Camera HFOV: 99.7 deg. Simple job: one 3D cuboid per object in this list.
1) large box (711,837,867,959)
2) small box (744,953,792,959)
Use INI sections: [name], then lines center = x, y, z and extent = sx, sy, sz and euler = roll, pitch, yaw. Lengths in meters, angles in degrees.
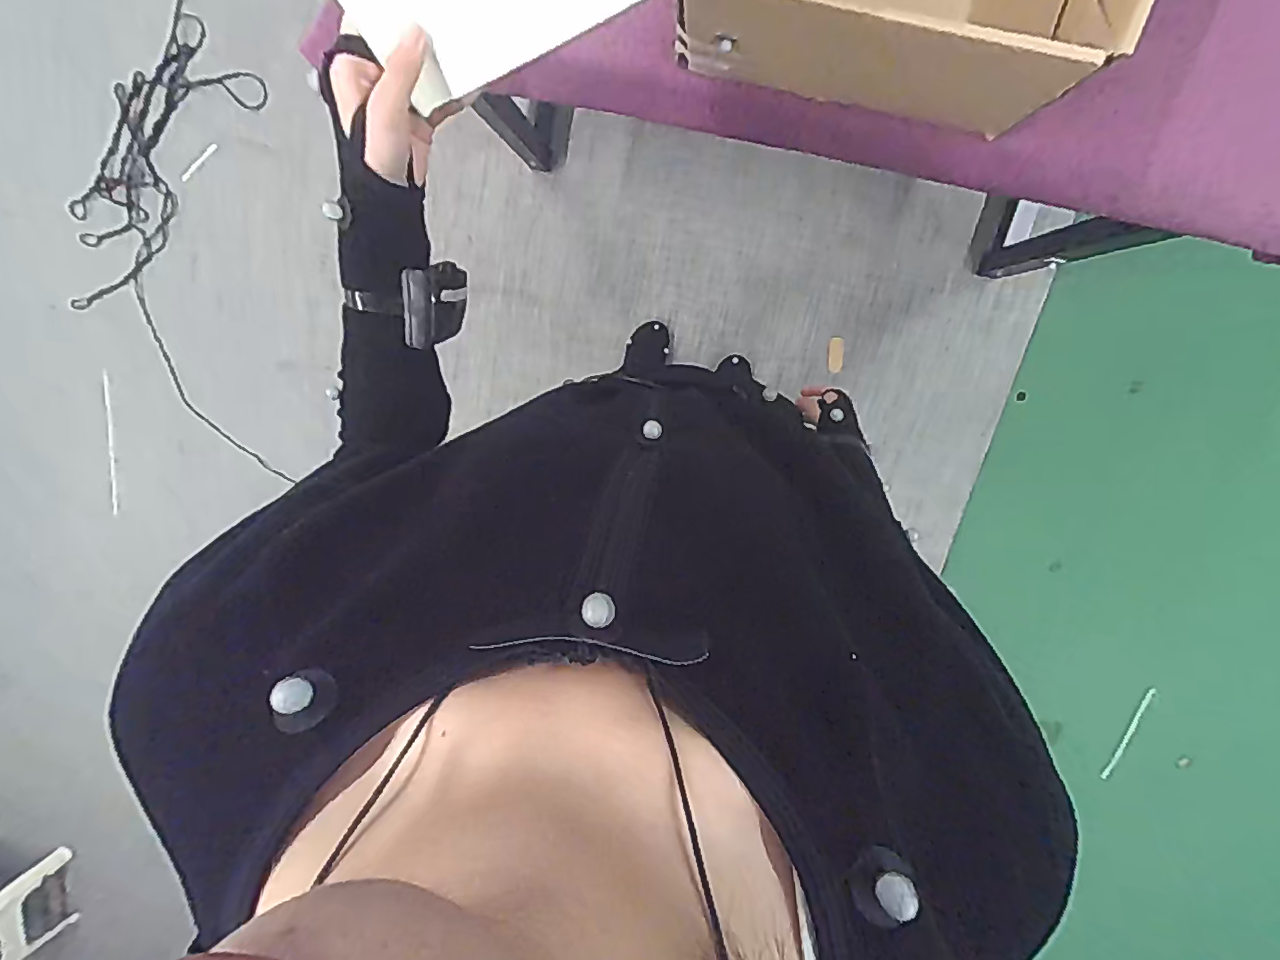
[large box]
center = 0.424, 1.335, 1.630
extent = 0.408, 0.320, 0.320
euler = -1, 104, 5
[small box]
center = 0.356, 1.377, 1.395
extent = 0.168, 0.176, 0.179
euler = 0, 103, 7
